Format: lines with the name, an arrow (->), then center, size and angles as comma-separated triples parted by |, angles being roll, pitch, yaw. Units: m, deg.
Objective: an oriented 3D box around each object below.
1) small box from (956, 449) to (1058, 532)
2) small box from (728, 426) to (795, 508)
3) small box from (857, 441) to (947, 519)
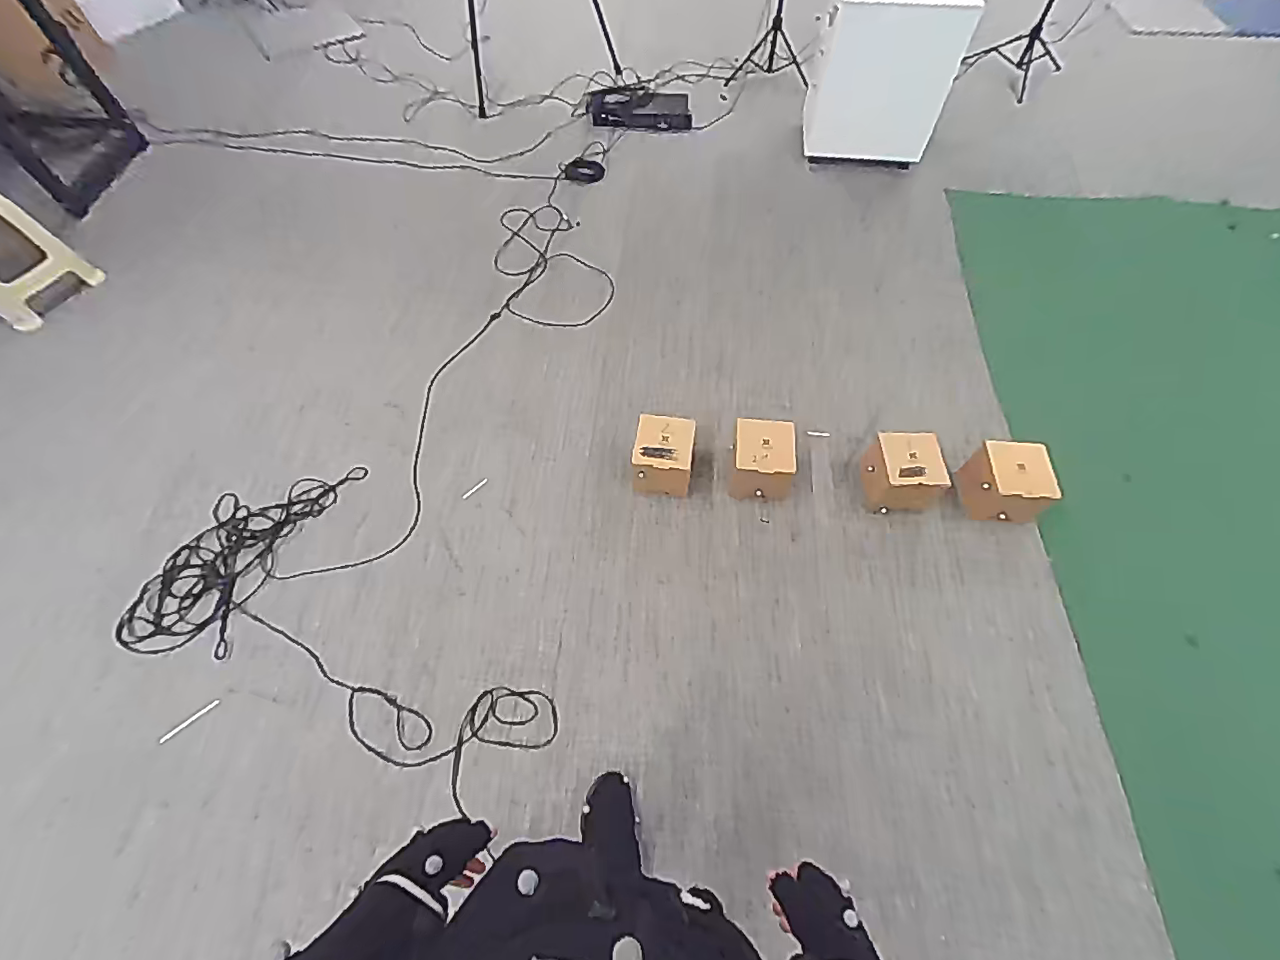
small box -> 1.045, 0.032, 1.560 | 0.168, 0.176, 0.179 | 4, 59, 3
small box -> 0.355, -0.037, 1.599 | 0.168, 0.176, 0.179 | 5, 60, 4
small box -> 0.754, 0.004, 1.576 | 0.168, 0.176, 0.179 | 1, 58, 0
